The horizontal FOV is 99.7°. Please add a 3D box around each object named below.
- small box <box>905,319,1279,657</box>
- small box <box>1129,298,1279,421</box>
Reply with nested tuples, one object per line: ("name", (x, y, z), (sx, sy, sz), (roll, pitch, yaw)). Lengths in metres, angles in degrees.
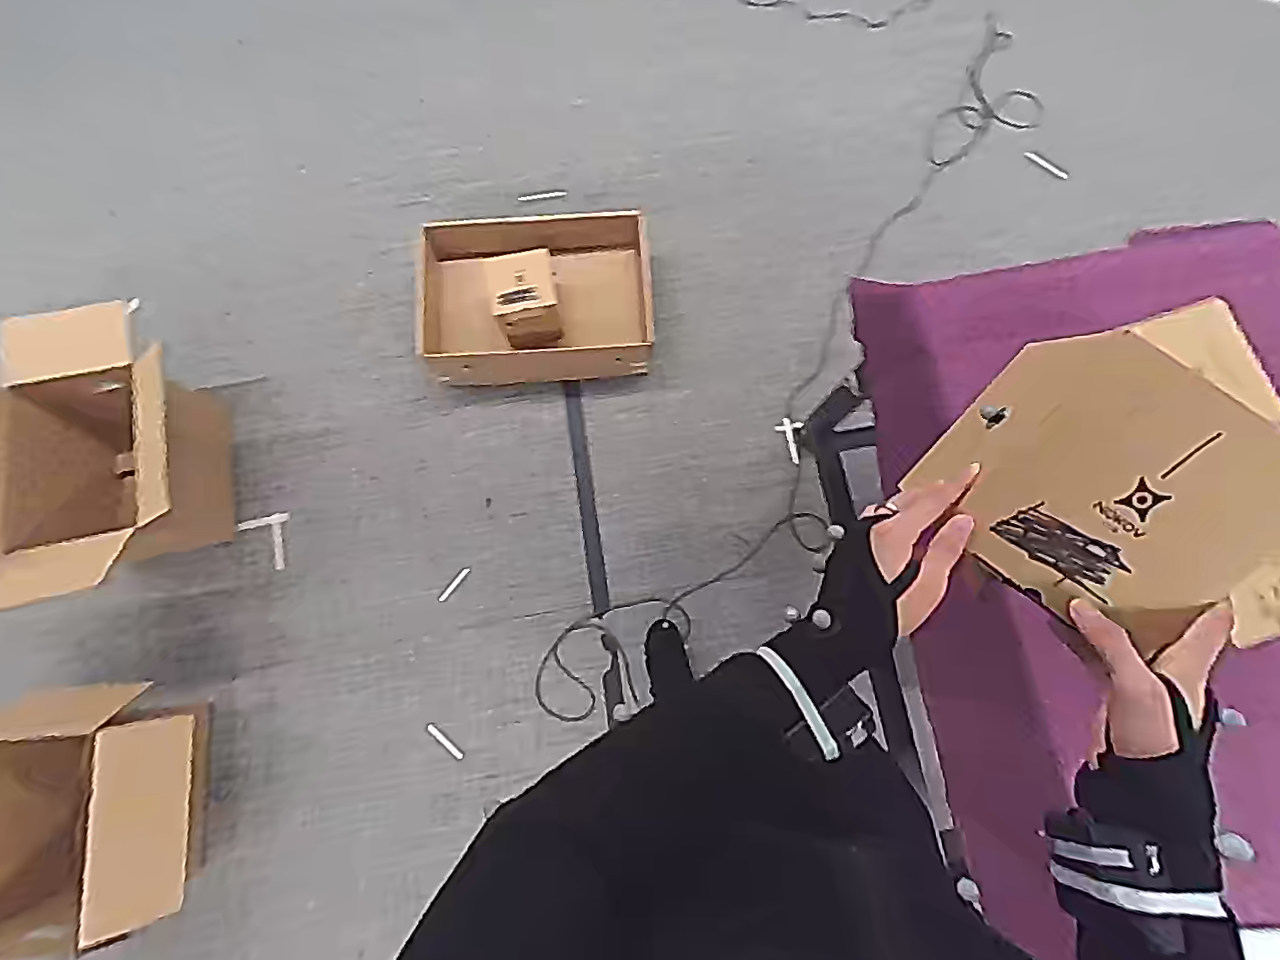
("small box", (0.343, -0.002, 0.438), (0.168, 0.176, 0.179), (37, 107, 7))
("small box", (0.653, -0.105, 0.713), (0.179, 0.176, 0.168), (-18, 80, -3))
